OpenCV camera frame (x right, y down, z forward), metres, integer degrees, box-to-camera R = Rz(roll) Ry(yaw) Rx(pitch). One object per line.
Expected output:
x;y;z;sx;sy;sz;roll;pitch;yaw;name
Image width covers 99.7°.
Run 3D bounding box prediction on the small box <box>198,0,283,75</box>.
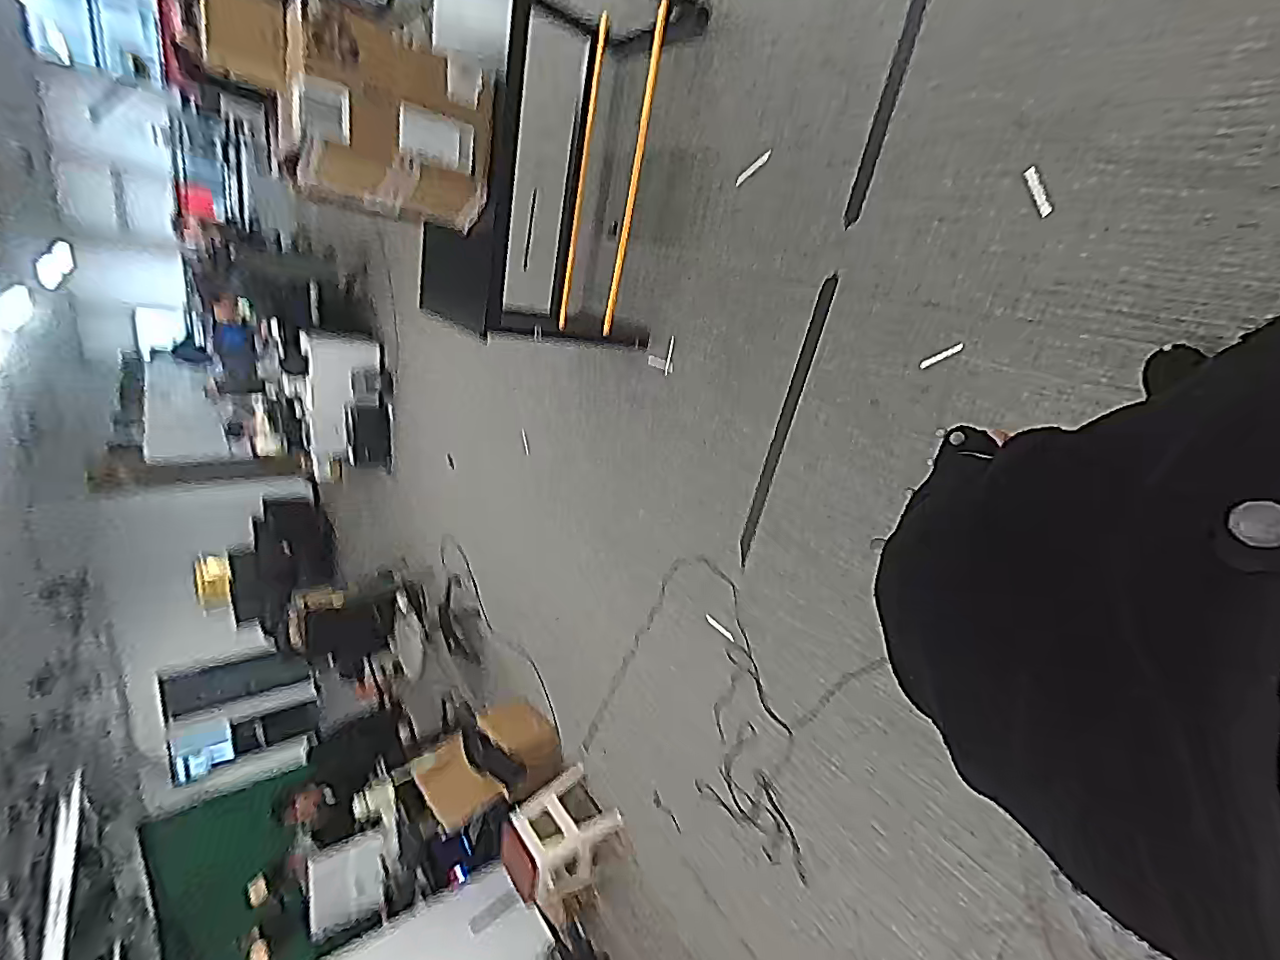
-1.040;-1.193;1.408;0.179;0.176;0.168;29;116;46;small box
